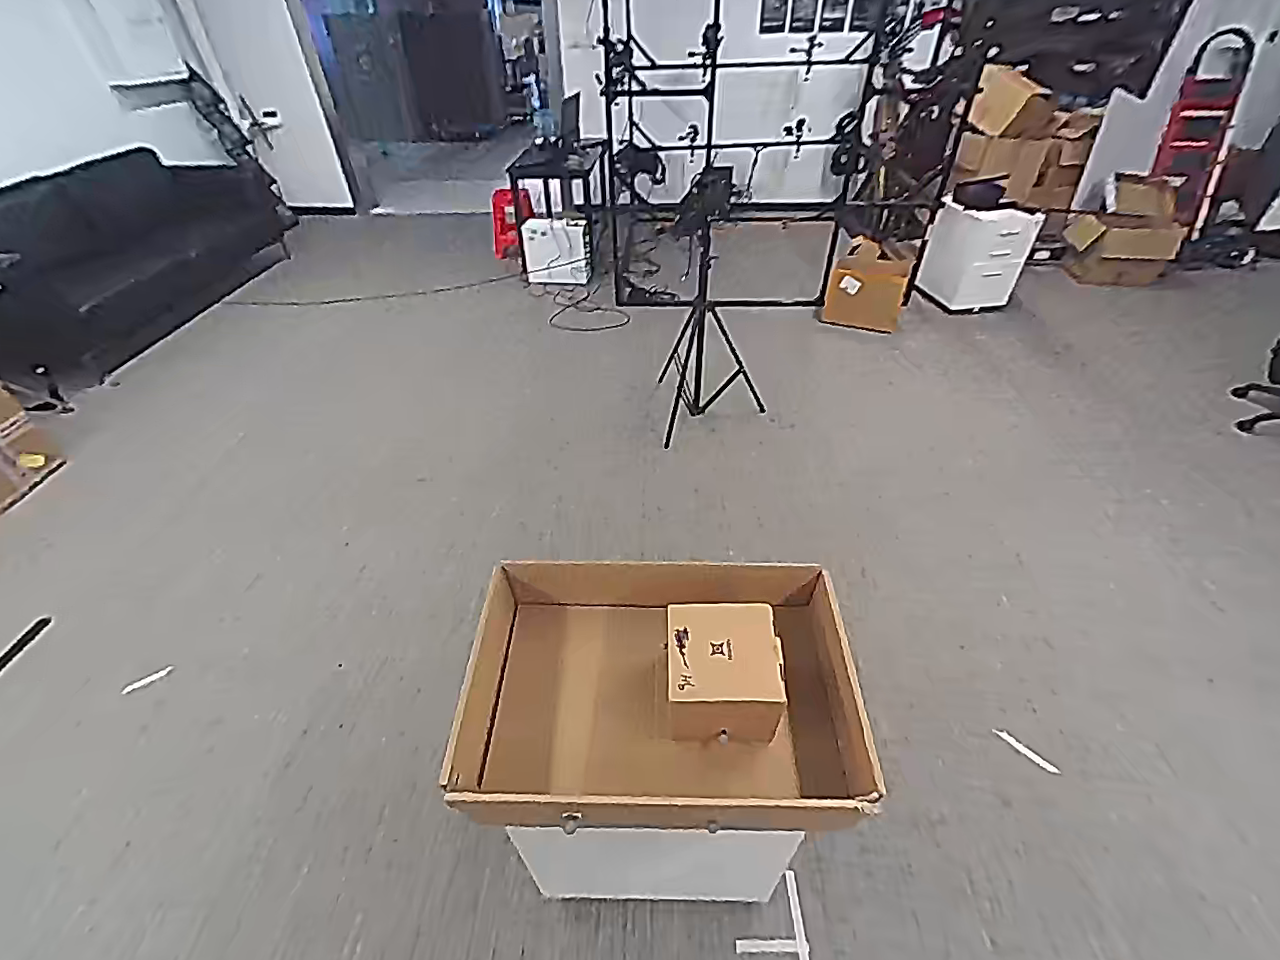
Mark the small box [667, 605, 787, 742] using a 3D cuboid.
[{"bbox_3d":[0.135,0.326,0.908,0.179,0.176,0.168,-1,45,3],"label":"small box"}]
